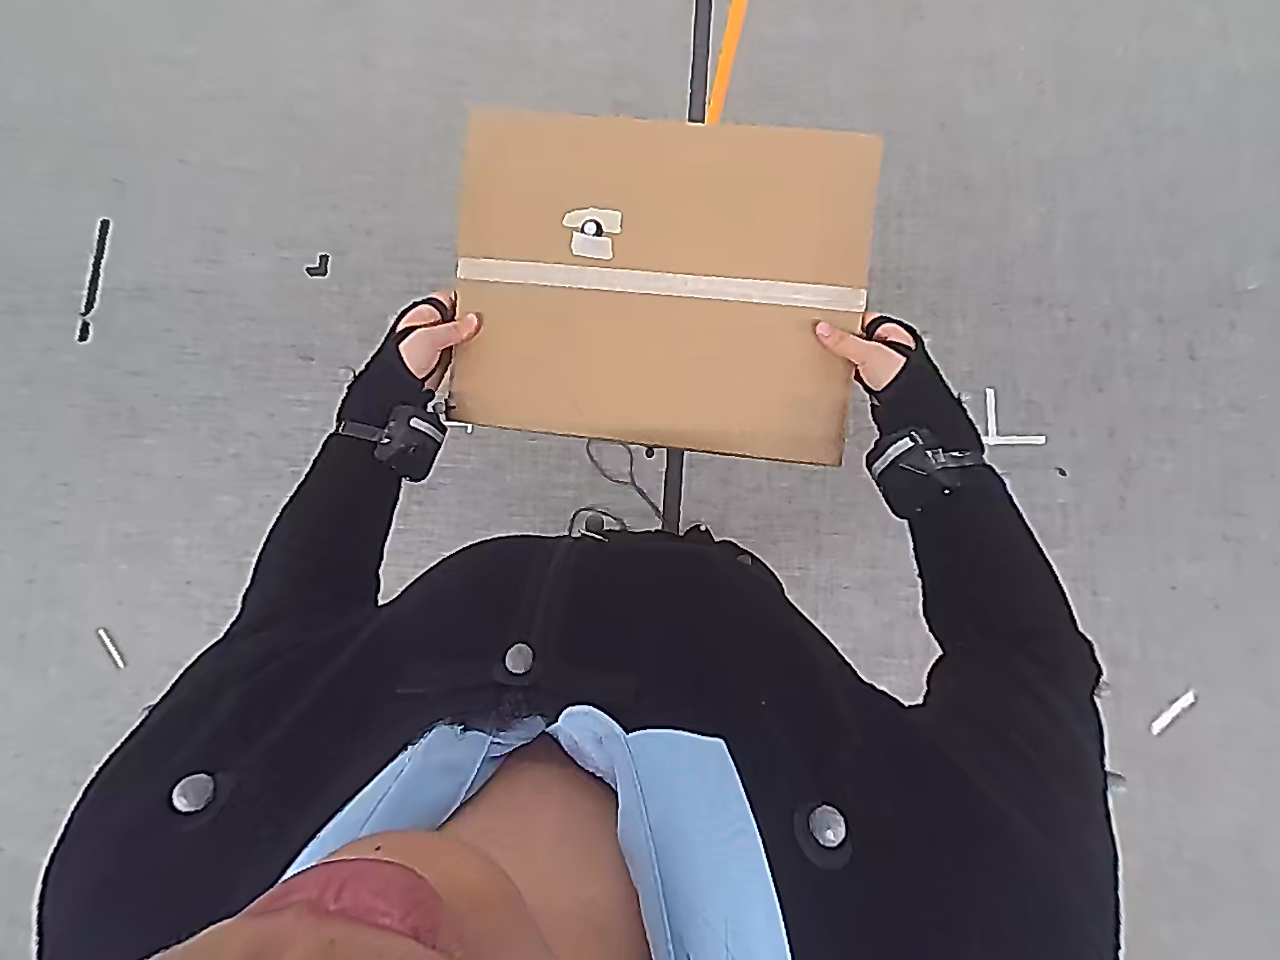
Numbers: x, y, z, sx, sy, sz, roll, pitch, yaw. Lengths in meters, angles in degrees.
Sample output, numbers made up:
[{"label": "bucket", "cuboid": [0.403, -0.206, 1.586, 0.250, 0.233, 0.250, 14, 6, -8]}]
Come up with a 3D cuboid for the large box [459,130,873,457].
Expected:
[{"label": "large box", "cuboid": [0.036, -0.201, 0.693, 0.408, 0.320, 0.320, 6, 92, 7]}]
